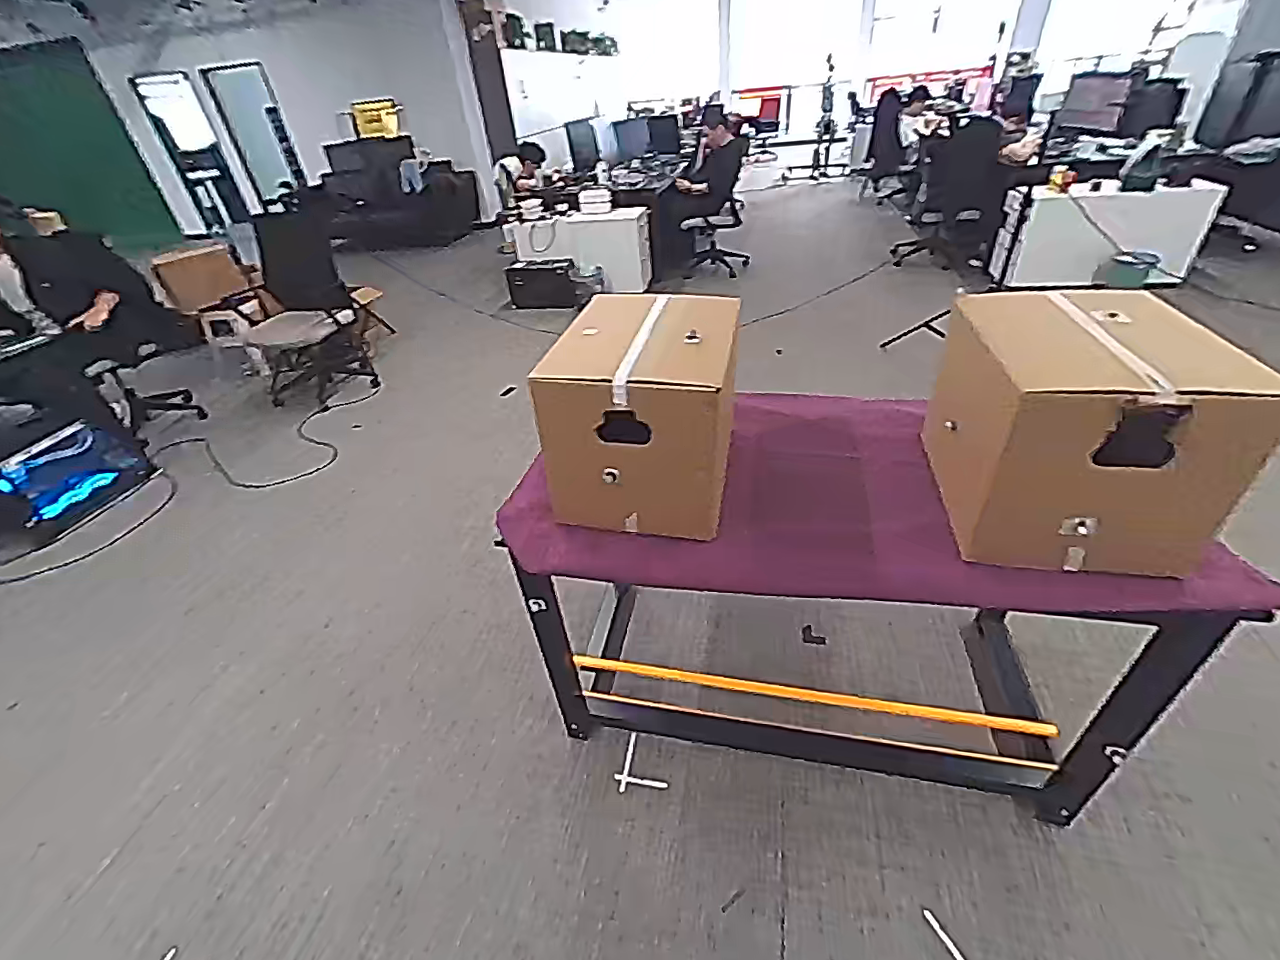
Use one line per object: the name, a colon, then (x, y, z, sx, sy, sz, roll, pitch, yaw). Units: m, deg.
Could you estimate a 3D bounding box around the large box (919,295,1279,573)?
large box: (0.702, -0.093, 0.914, 0.320, 0.320, 0.408, 4, 36, 12)
